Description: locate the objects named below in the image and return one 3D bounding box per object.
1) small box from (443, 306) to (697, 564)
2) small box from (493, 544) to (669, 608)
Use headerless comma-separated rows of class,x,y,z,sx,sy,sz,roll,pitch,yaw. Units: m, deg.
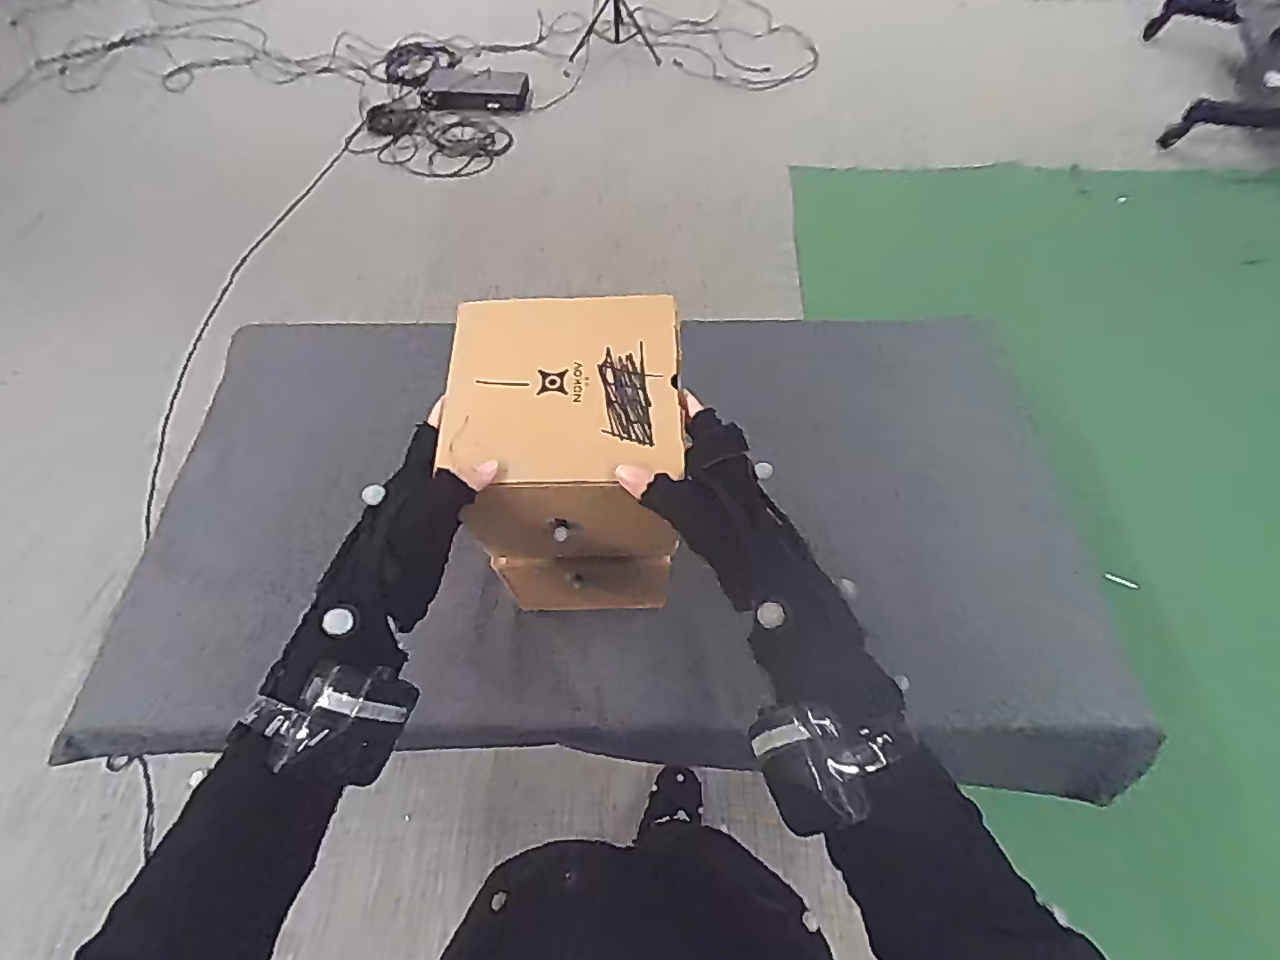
small box,-0.054,-0.030,0.475,0.179,0.176,0.168,-3,65,-2
small box,-0.057,0.050,0.632,0.179,0.176,0.168,-1,63,0
